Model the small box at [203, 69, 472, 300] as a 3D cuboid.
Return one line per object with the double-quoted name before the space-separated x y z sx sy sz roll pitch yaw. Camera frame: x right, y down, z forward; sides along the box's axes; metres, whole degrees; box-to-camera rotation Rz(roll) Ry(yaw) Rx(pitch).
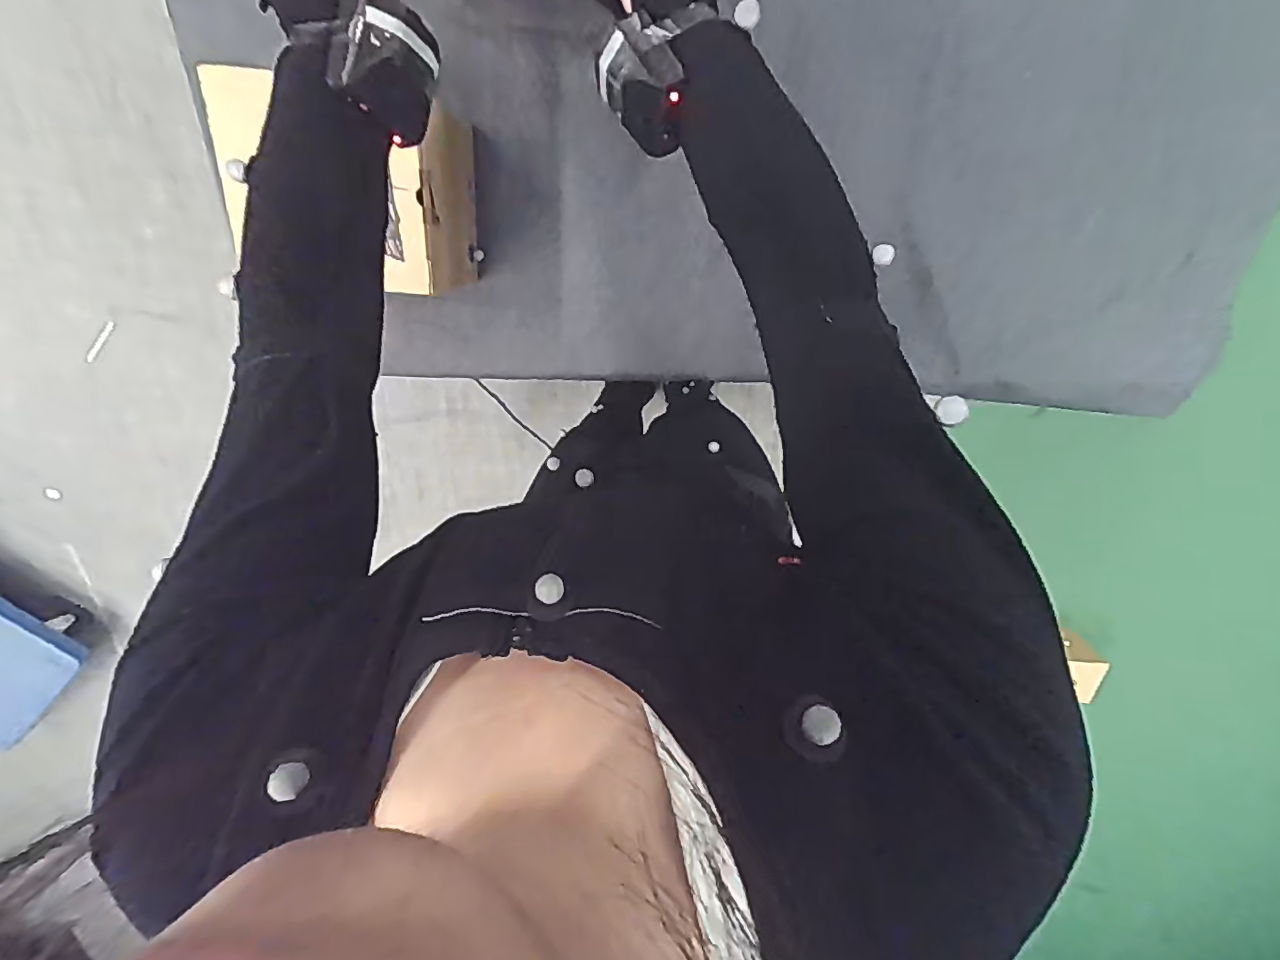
"small box" -0.273 -0.283 0.543 0.179 0.176 0.168 4 114 -2
